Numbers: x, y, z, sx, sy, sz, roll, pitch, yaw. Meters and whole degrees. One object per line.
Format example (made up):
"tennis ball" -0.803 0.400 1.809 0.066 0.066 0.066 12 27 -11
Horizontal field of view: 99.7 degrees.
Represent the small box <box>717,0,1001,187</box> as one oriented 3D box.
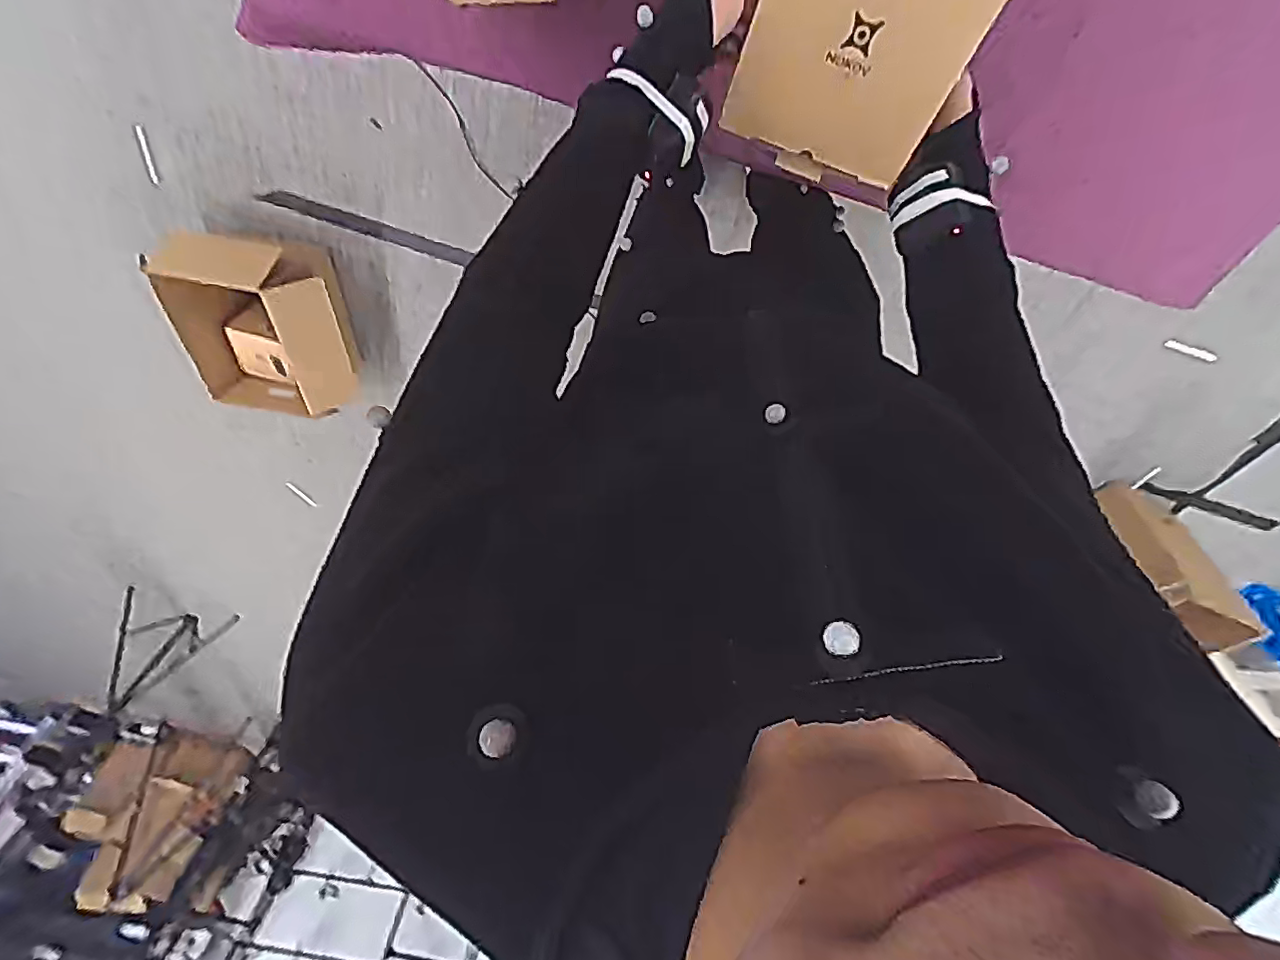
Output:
"small box" 0.178 -0.393 0.457 0.168 0.176 0.179 16 140 -5
